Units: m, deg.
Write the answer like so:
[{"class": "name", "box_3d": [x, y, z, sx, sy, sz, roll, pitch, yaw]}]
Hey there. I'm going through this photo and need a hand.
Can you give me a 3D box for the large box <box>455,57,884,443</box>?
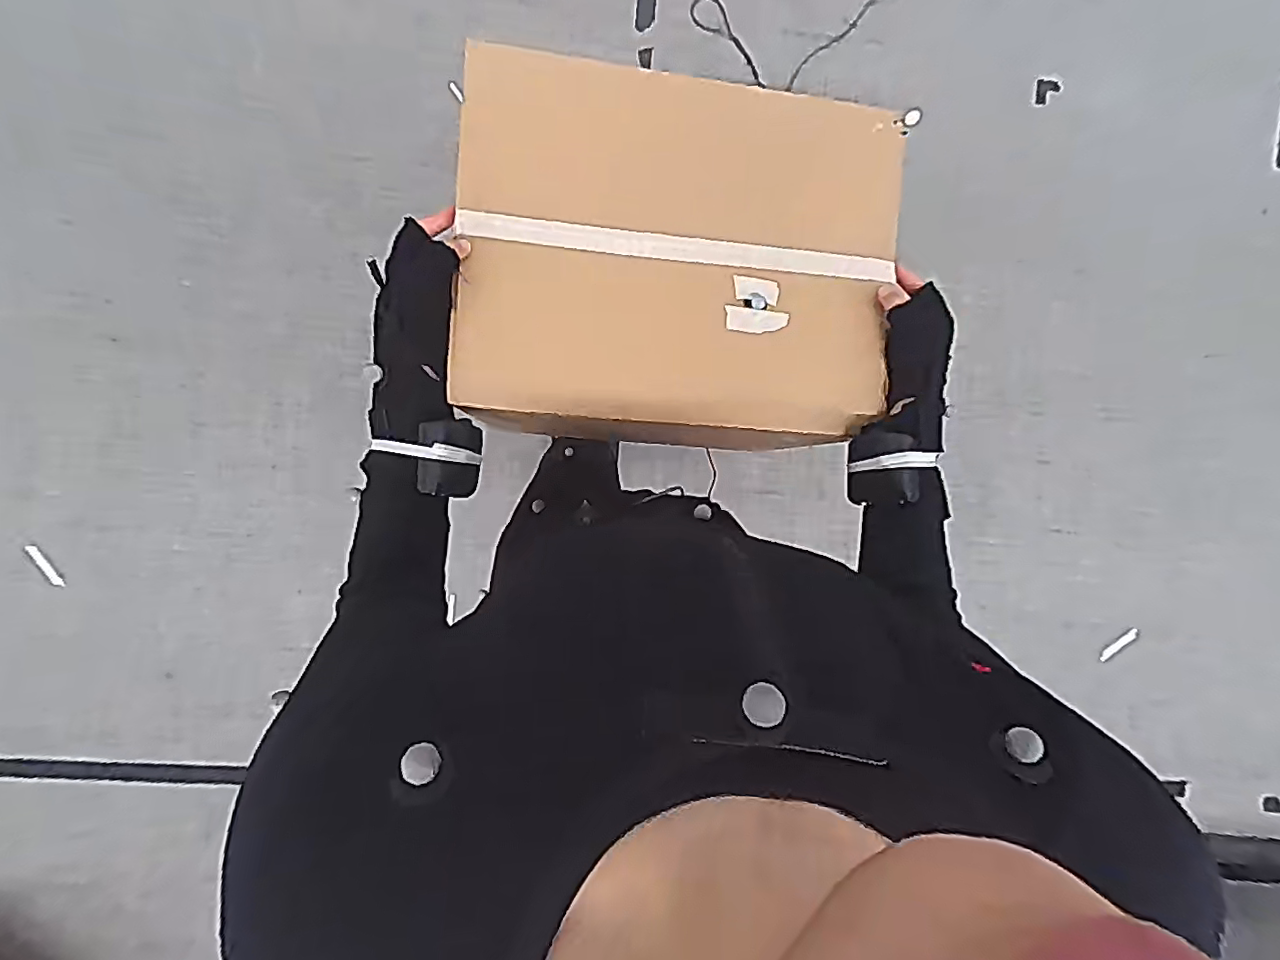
[{"class": "large box", "box_3d": [0.014, -0.214, 0.651, 0.408, 0.320, 0.320, 4, 92, -9]}]
